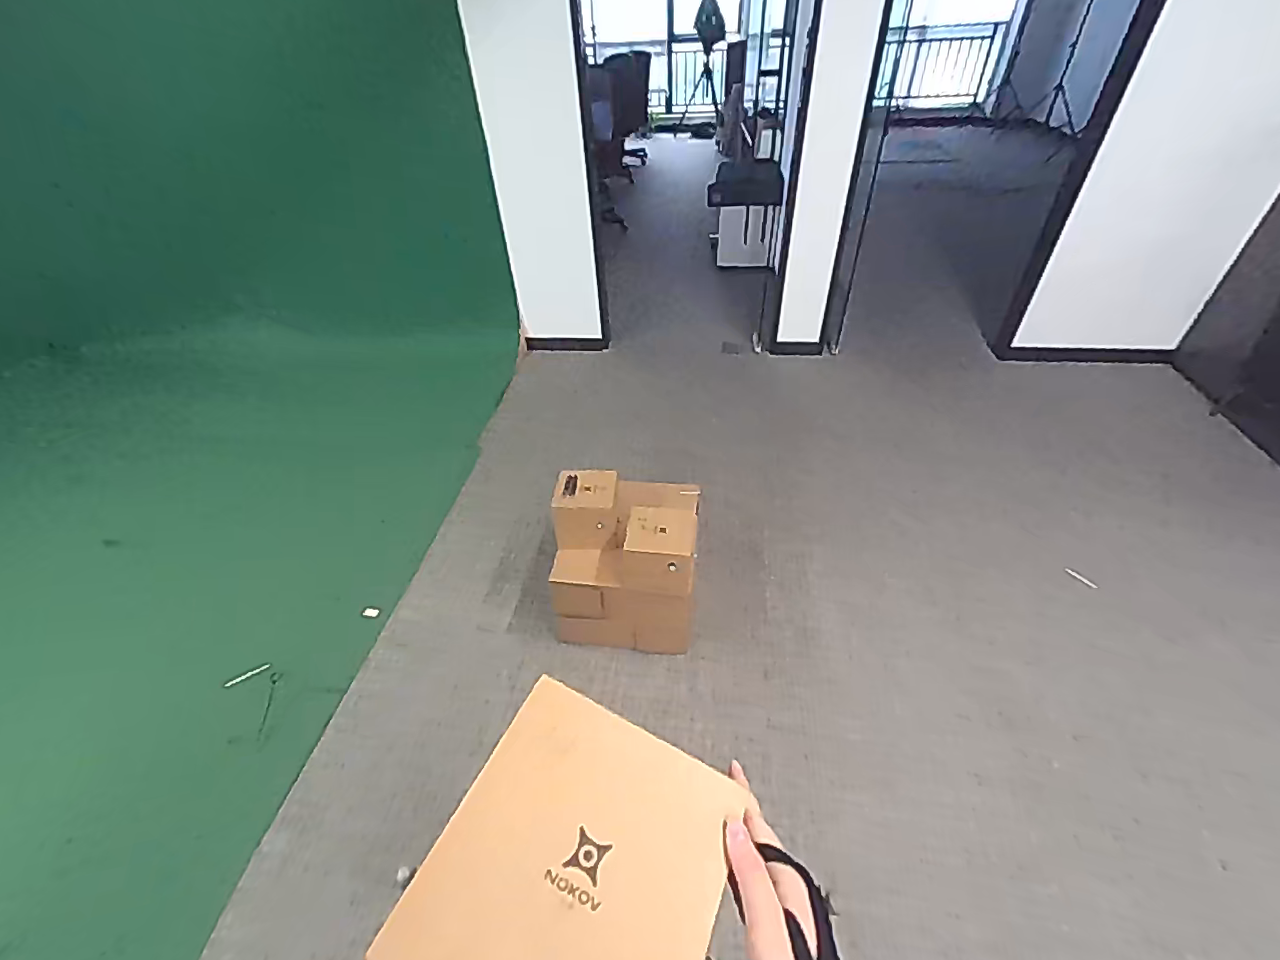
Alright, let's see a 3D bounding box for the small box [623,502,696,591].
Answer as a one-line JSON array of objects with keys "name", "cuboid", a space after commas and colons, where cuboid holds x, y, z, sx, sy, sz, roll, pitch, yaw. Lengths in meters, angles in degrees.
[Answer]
[{"name": "small box", "cuboid": [0.056, 0.183, 1.469, 0.179, 0.176, 0.168, 5, 41, 7]}]
